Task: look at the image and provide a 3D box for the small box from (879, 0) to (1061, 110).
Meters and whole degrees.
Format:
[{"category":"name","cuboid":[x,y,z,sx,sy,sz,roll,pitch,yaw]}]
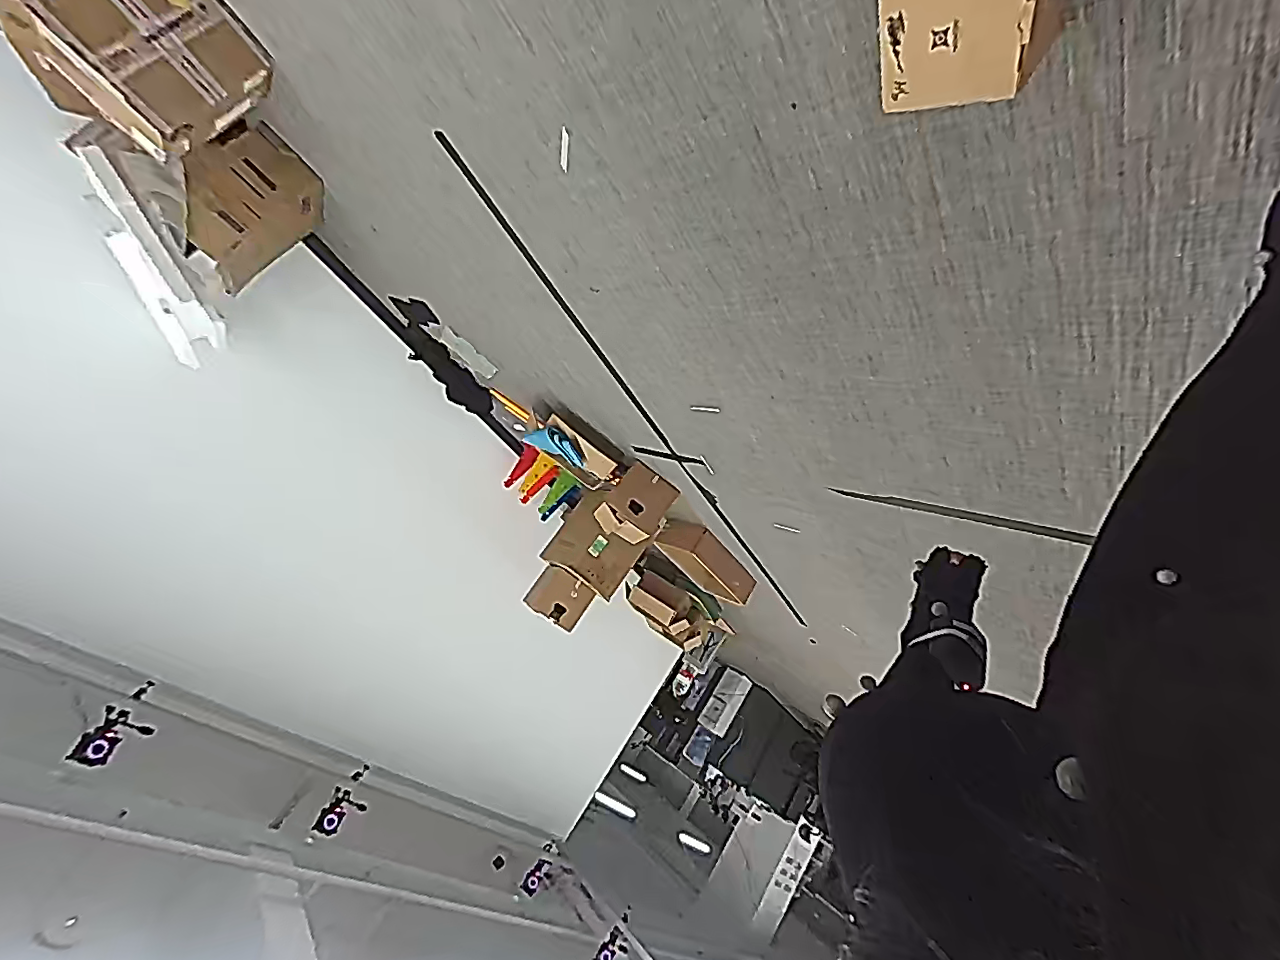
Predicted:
[{"category":"small box","cuboid":[0.437,-0.627,0.707,0.179,0.176,0.168,22,157,38]}]
